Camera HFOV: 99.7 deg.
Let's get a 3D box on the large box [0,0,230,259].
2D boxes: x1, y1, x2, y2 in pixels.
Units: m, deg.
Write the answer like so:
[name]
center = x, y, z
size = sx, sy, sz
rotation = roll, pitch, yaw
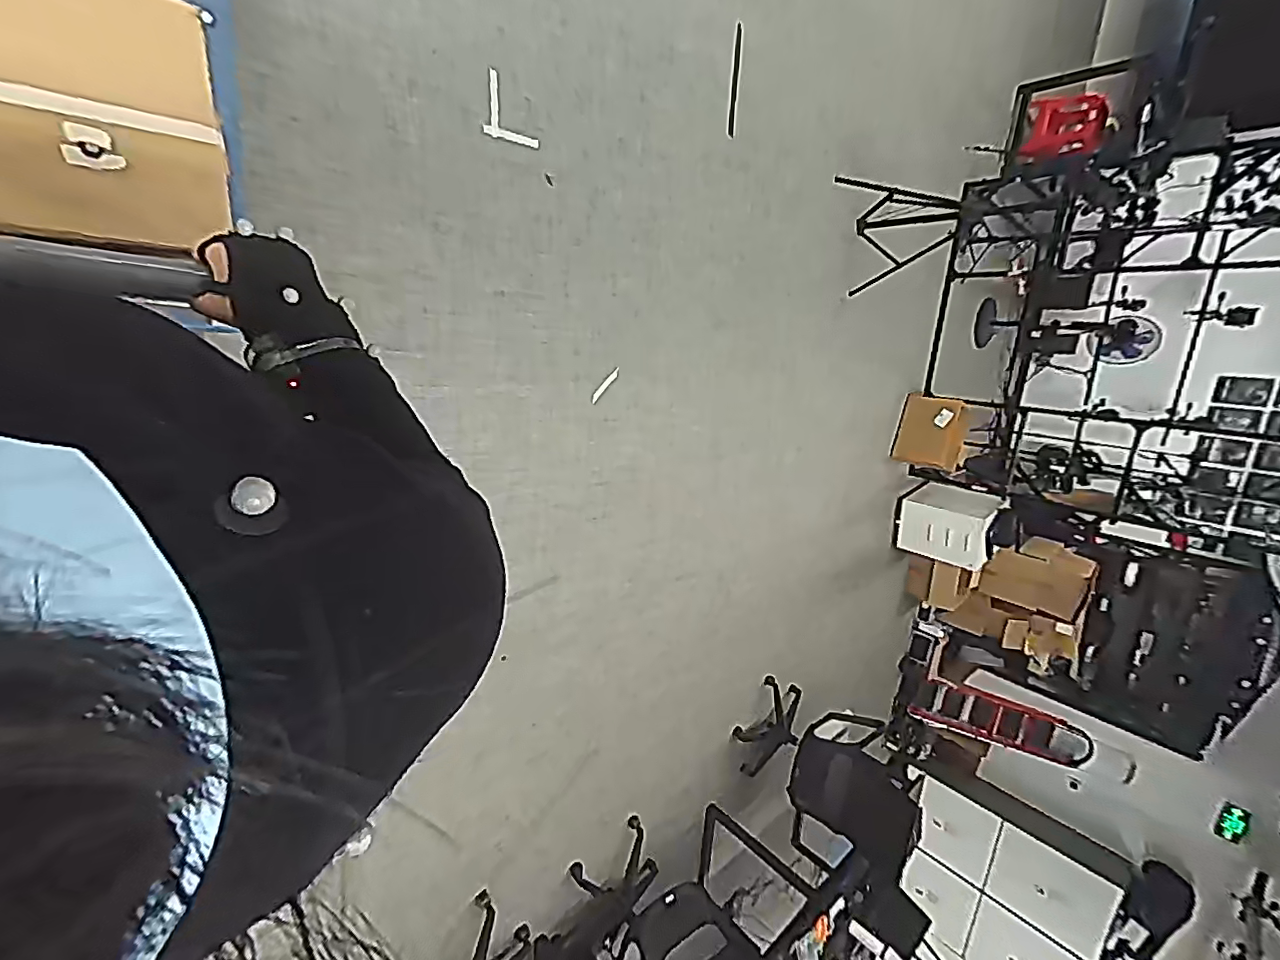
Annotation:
[large box]
center = -0.853, -0.495, 0.737
size = 0.408, 0.320, 0.320
rotation = -12, 112, -43
